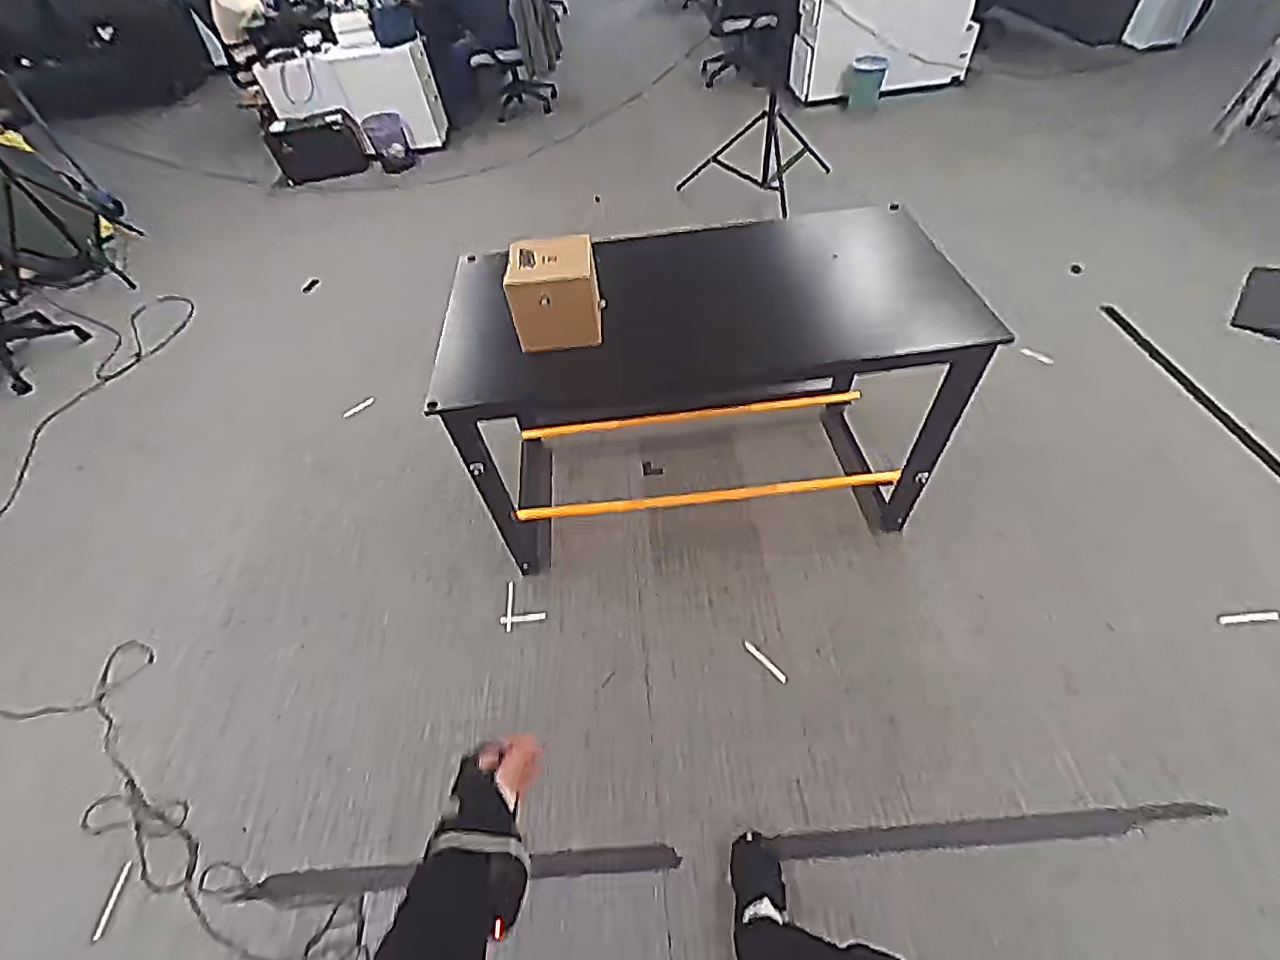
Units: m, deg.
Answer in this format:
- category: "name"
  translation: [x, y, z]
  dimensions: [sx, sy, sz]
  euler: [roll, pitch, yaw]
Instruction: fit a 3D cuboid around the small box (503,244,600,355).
- category: "small box"
  translation: [-0.186, -0.392, 1.190]
  dimensions: [0.179, 0.176, 0.168]
  euler: [-5, 51, 1]
